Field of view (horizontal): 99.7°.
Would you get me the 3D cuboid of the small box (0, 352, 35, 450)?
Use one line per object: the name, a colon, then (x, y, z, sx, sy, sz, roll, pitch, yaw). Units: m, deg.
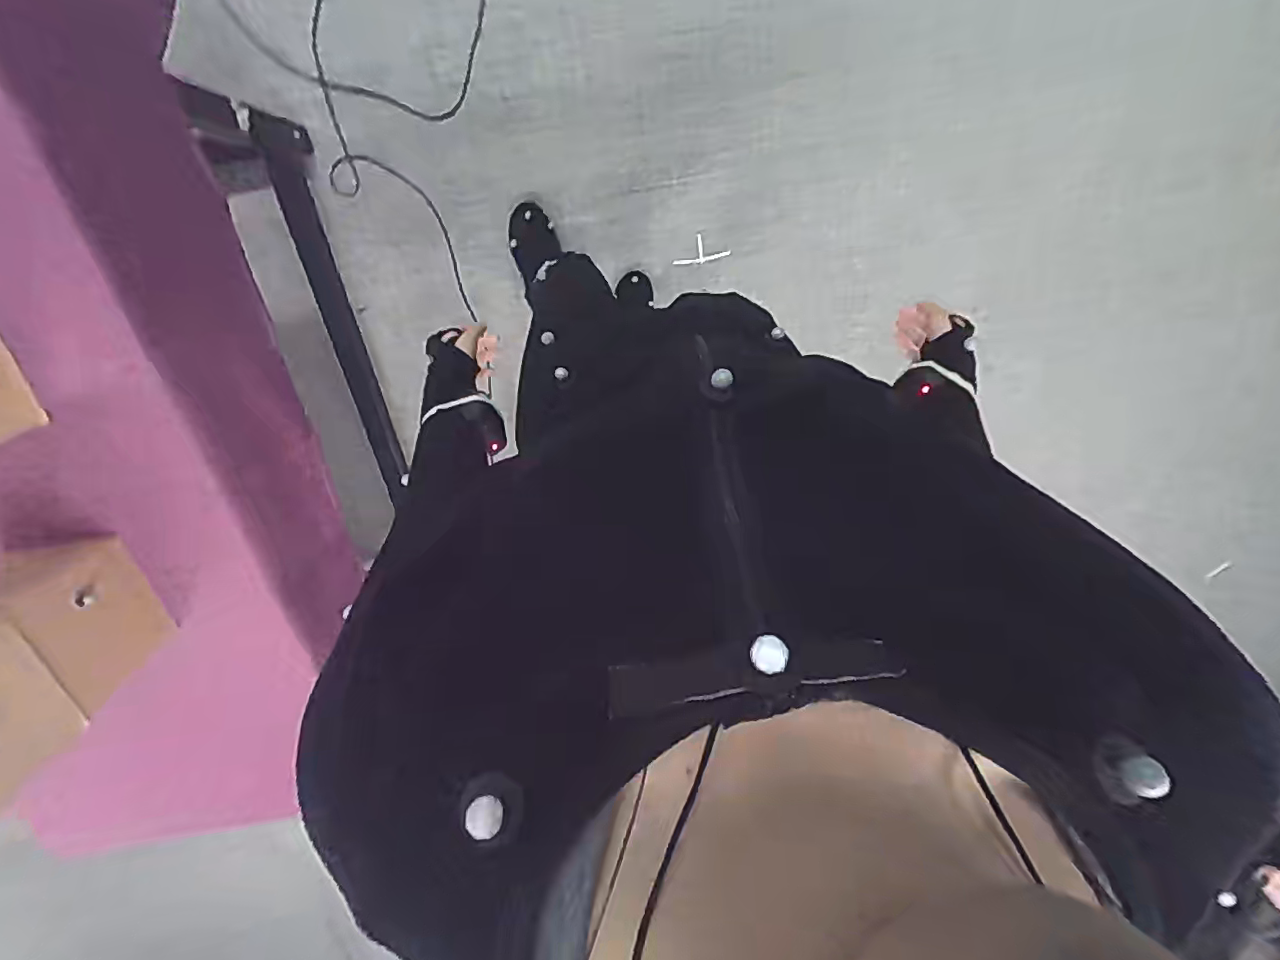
small box: (-0.821, -0.088, 0.569, 0.179, 0.176, 0.168, -8, 115, 0)

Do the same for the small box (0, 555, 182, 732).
small box: (-0.770, 0.214, 0.707, 0.168, 0.176, 0.179, -10, 115, 1)

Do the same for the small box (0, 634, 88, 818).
small box: (-0.756, 0.284, 0.559, 0.168, 0.176, 0.179, -10, 114, 0)
